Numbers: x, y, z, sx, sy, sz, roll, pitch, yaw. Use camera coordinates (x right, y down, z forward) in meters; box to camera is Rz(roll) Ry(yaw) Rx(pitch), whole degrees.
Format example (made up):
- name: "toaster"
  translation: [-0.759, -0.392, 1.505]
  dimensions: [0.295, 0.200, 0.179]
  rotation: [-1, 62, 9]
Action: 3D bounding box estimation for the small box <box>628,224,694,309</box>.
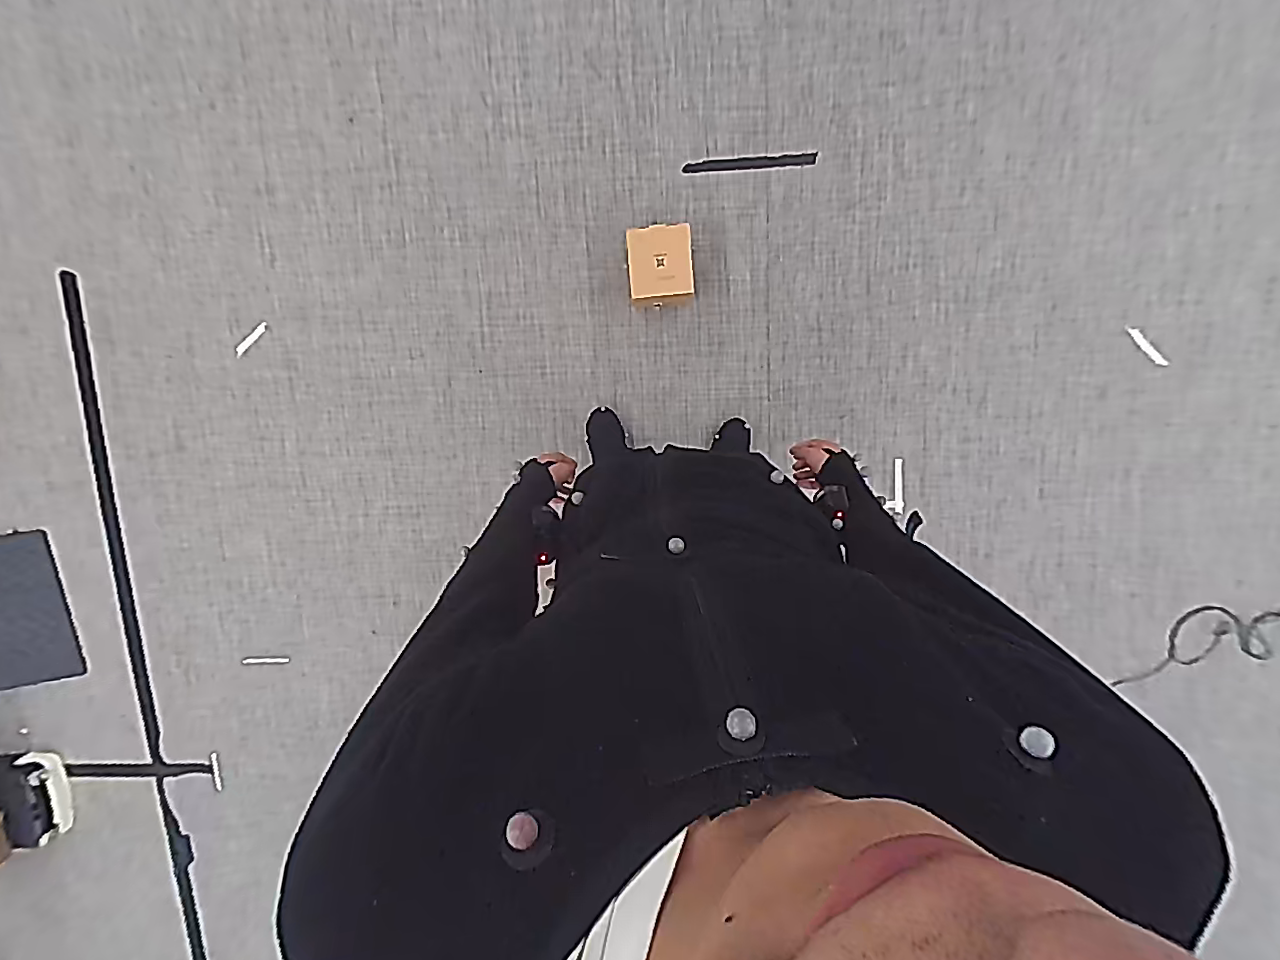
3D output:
- name: "small box"
  translation: [0.055, -0.574, 1.472]
  dimensions: [0.168, 0.176, 0.179]
  rotation: [-4, 99, 3]
